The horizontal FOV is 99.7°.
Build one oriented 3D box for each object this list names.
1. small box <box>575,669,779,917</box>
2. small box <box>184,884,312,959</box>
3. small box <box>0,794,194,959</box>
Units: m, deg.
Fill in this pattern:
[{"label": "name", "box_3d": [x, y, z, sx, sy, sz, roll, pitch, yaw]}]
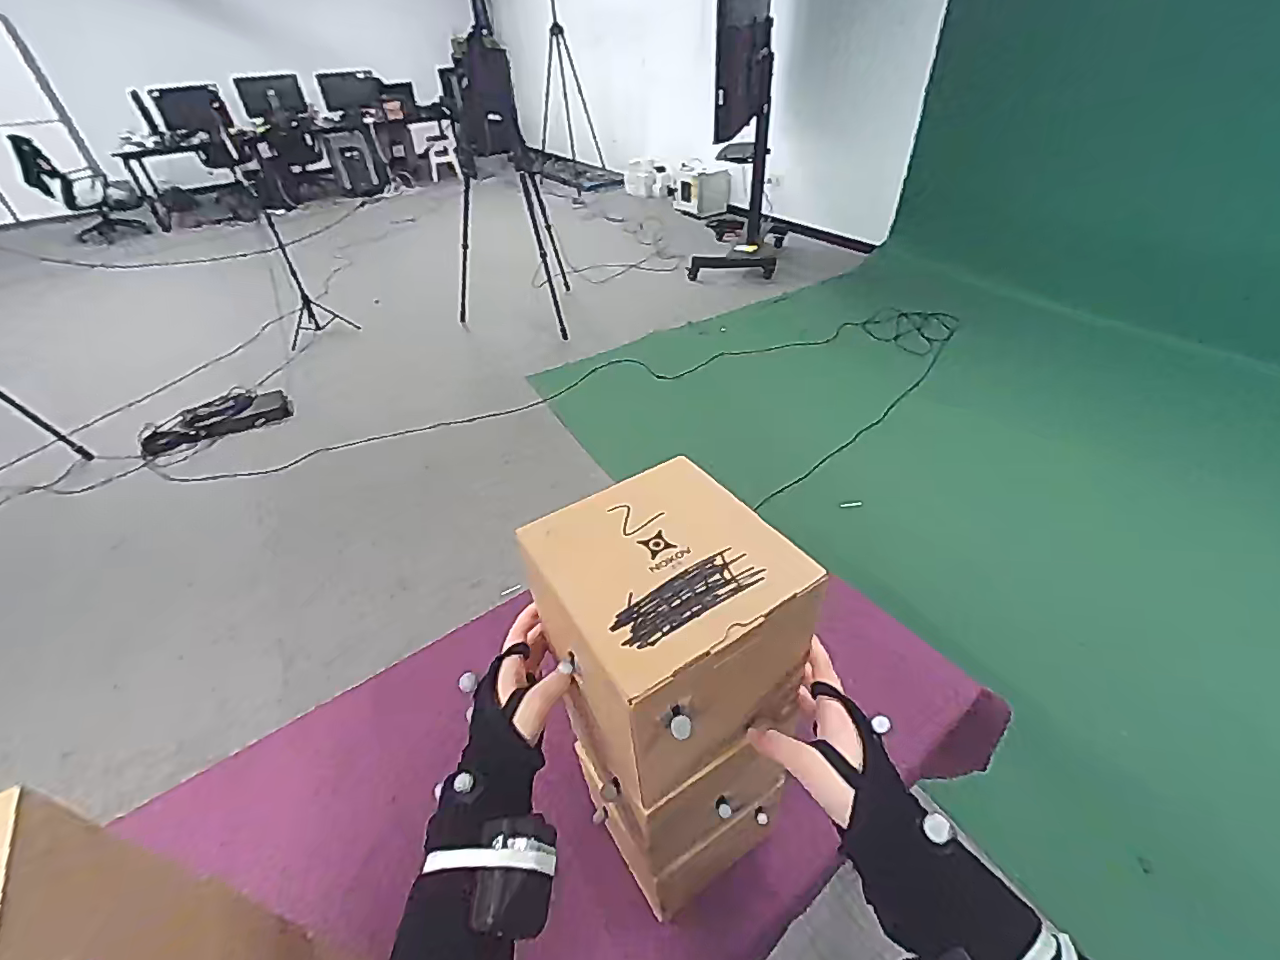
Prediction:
[{"label": "small box", "box_3d": [0.044, 0.376, 0.655, 0.179, 0.176, 0.168, -25, 44, -23]}, {"label": "small box", "box_3d": [-0.335, 0.433, 0.366, 0.168, 0.176, 0.179, -24, 43, -23]}, {"label": "small box", "box_3d": [-0.353, 0.307, 0.261, 0.168, 0.176, 0.179, -27, 44, -25]}]
